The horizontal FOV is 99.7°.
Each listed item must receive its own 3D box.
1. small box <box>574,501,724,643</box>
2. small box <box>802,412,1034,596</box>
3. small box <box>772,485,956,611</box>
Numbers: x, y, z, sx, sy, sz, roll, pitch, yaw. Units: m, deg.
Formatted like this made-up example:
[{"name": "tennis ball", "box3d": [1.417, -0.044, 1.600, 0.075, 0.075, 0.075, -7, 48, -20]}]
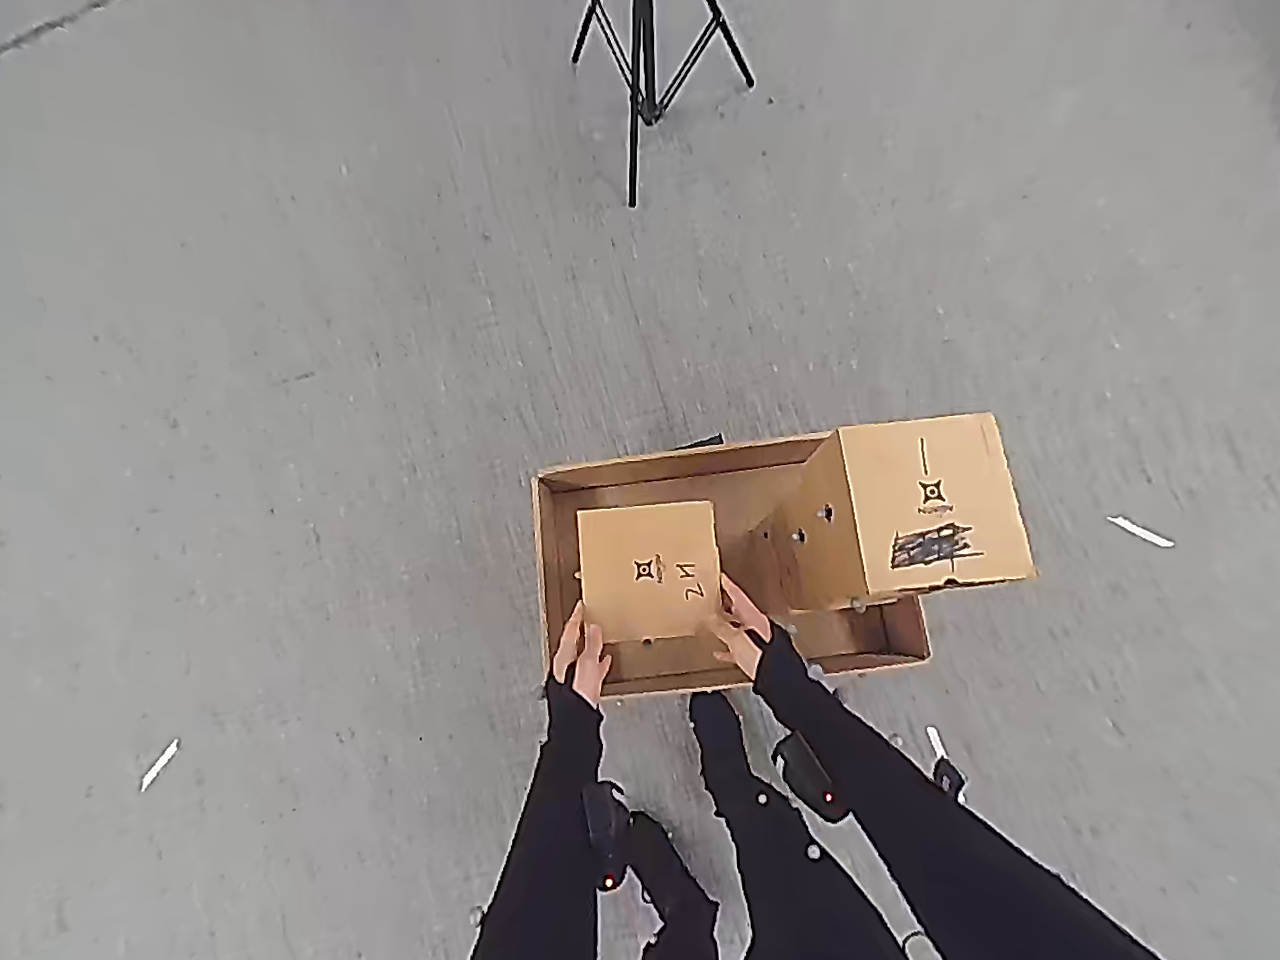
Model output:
[{"name": "small box", "box3d": [0.008, 0.127, 0.737, 0.179, 0.176, 0.168, -4, 79, -2]}, {"name": "small box", "box3d": [0.295, 0.038, 0.617, 0.168, 0.176, 0.179, -6, 76, 2]}, {"name": "small box", "box3d": [0.305, 0.091, 0.774, 0.179, 0.176, 0.168, -9, 76, 0]}]
